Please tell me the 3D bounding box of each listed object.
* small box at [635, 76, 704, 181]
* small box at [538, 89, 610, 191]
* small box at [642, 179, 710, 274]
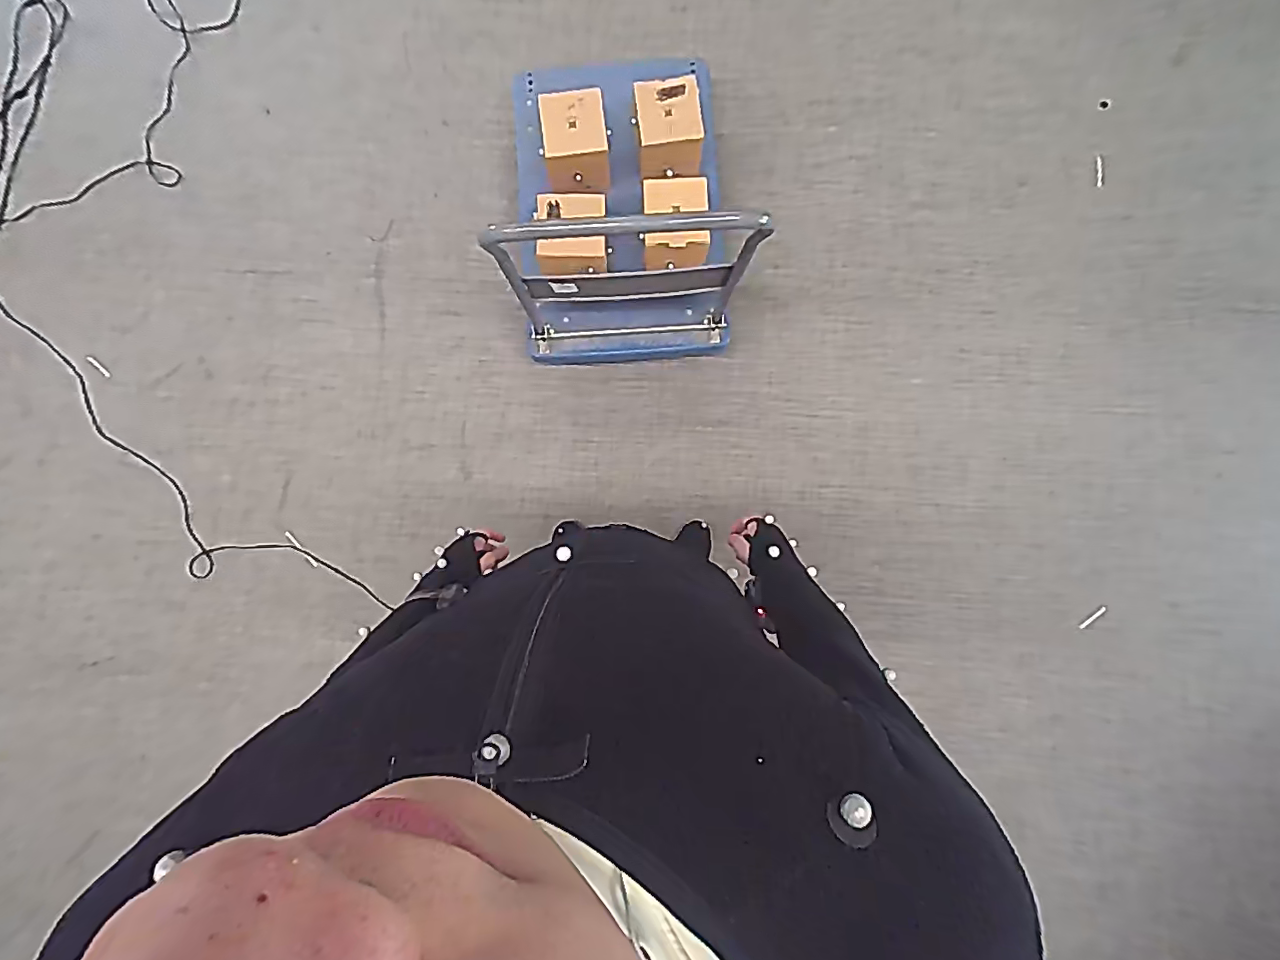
[{"bbox_3d":[0.075,-0.947,1.473,0.168,0.176,0.179,-7,87,0],"label":"small box"},{"bbox_3d":[-0.174,-0.914,1.472,0.168,0.176,0.179,-7,86,-1],"label":"small box"},{"bbox_3d":[0.092,-0.677,1.457,0.168,0.176,0.179,-3,87,0],"label":"small box"}]
